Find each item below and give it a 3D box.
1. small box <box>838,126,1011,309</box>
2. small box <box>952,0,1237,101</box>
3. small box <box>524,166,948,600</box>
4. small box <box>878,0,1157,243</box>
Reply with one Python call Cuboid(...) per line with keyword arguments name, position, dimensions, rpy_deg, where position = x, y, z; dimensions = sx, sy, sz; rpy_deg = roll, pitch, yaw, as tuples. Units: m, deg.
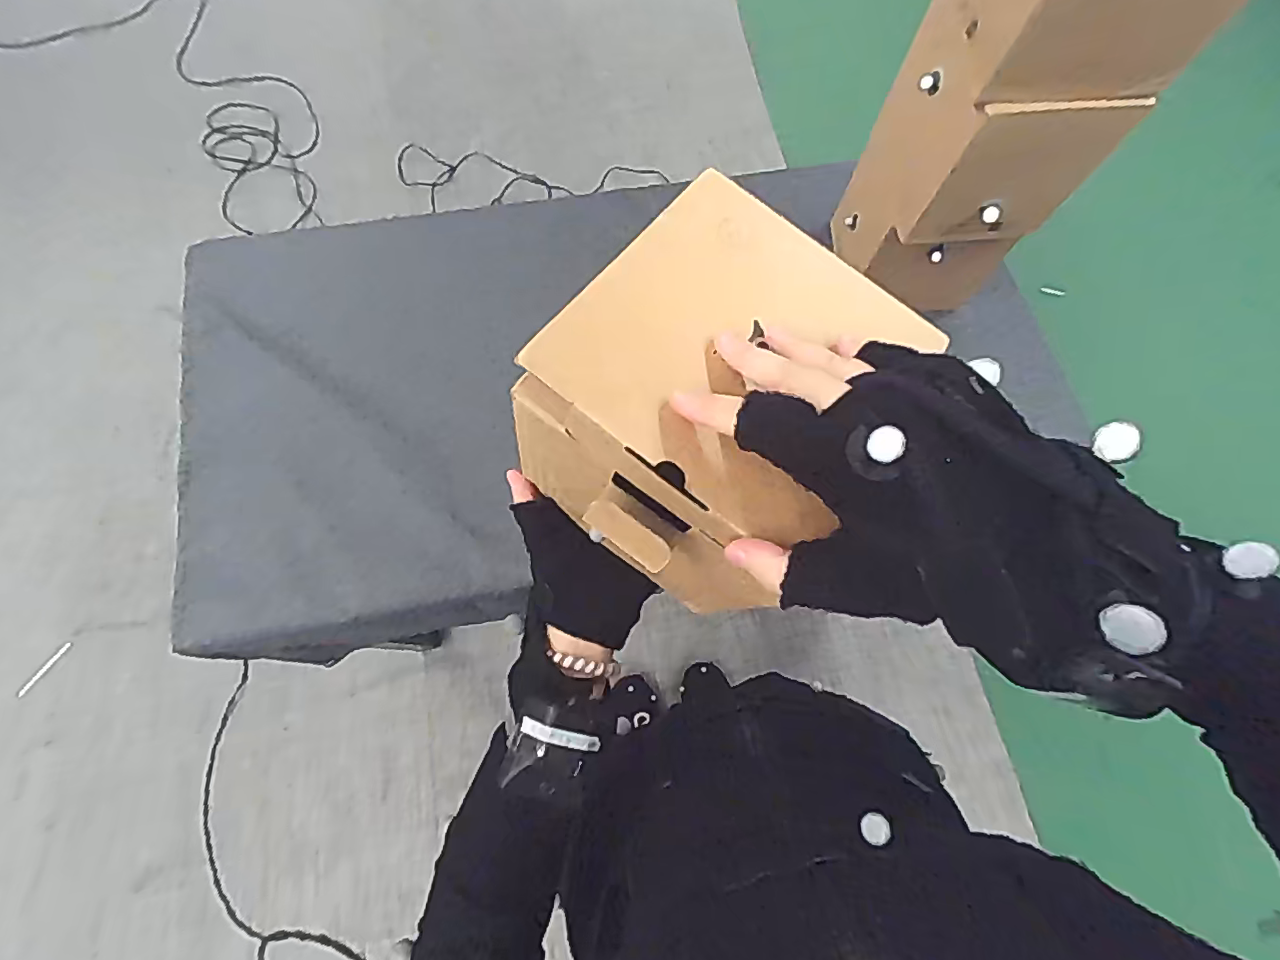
Cuboid(name="small box", position=(0.391, -0.358, 0.758), dimensions=(0.179, 0.176, 0.168), rpy_deg=(2, 72, -1))
Cuboid(name="small box", position=(0.387, -0.447, 0.443), dimensions=(0.179, 0.176, 0.168), rpy_deg=(-2, 72, -2))
Cuboid(name="small box", position=(0.043, -0.041, 0.346), dimensions=(0.168, 0.176, 0.179), rpy_deg=(36, 73, 0))
Cuboid(name="small box", position=(0.388, -0.393, 0.597), dimensions=(0.168, 0.176, 0.179), rpy_deg=(-5, 72, -2))
